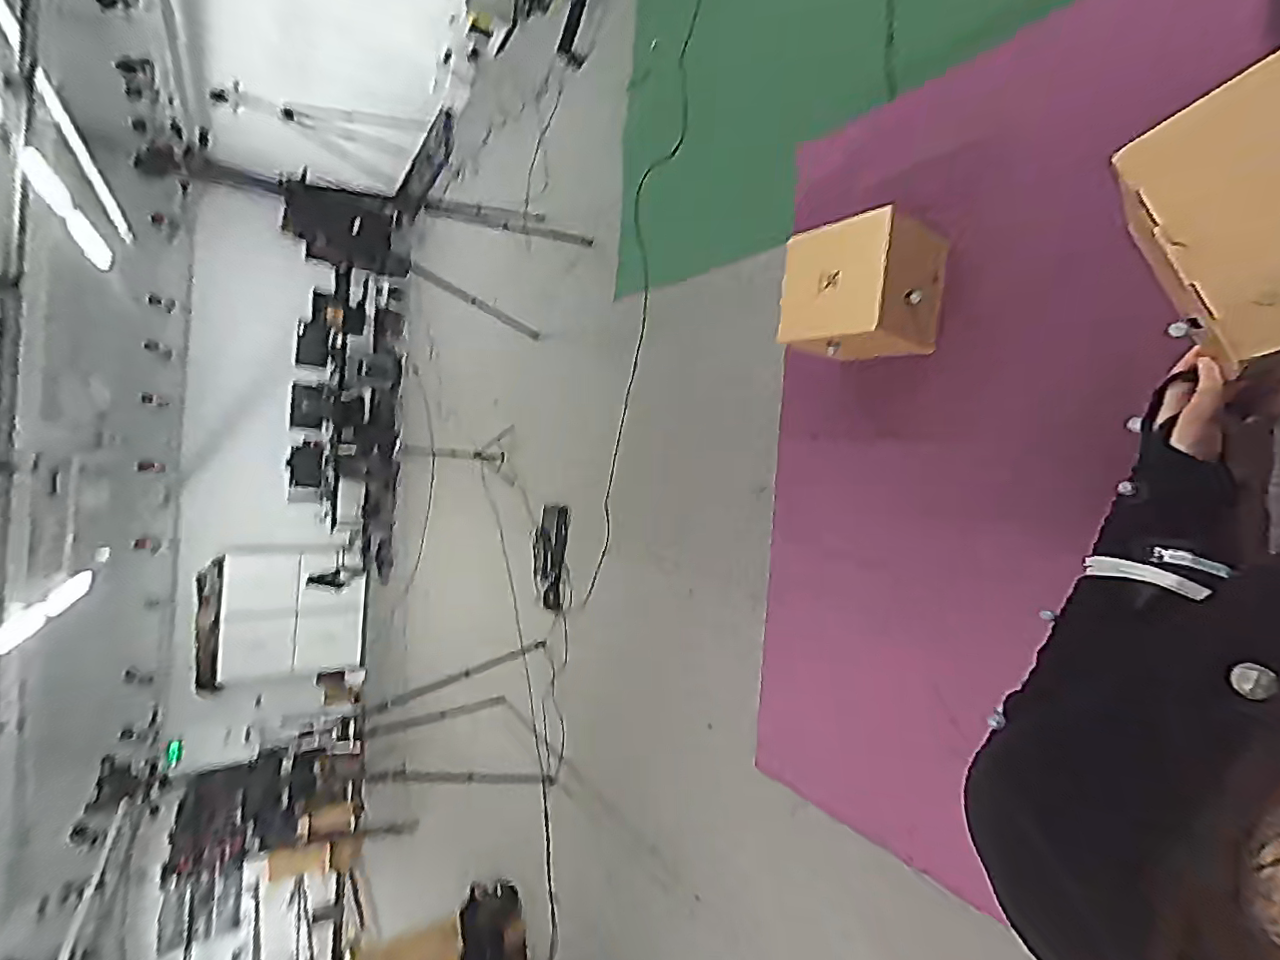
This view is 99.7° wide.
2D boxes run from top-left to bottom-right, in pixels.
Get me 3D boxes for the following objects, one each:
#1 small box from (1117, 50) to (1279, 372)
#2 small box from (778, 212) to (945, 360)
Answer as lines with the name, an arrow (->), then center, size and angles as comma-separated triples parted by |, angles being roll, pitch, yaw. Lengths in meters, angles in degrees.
small box -> 0.463, -0.184, 0.354 | 0.179, 0.176, 0.168 | -27, 74, 43
small box -> 0.346, -0.288, 0.845 | 0.179, 0.176, 0.168 | 10, 96, 55
